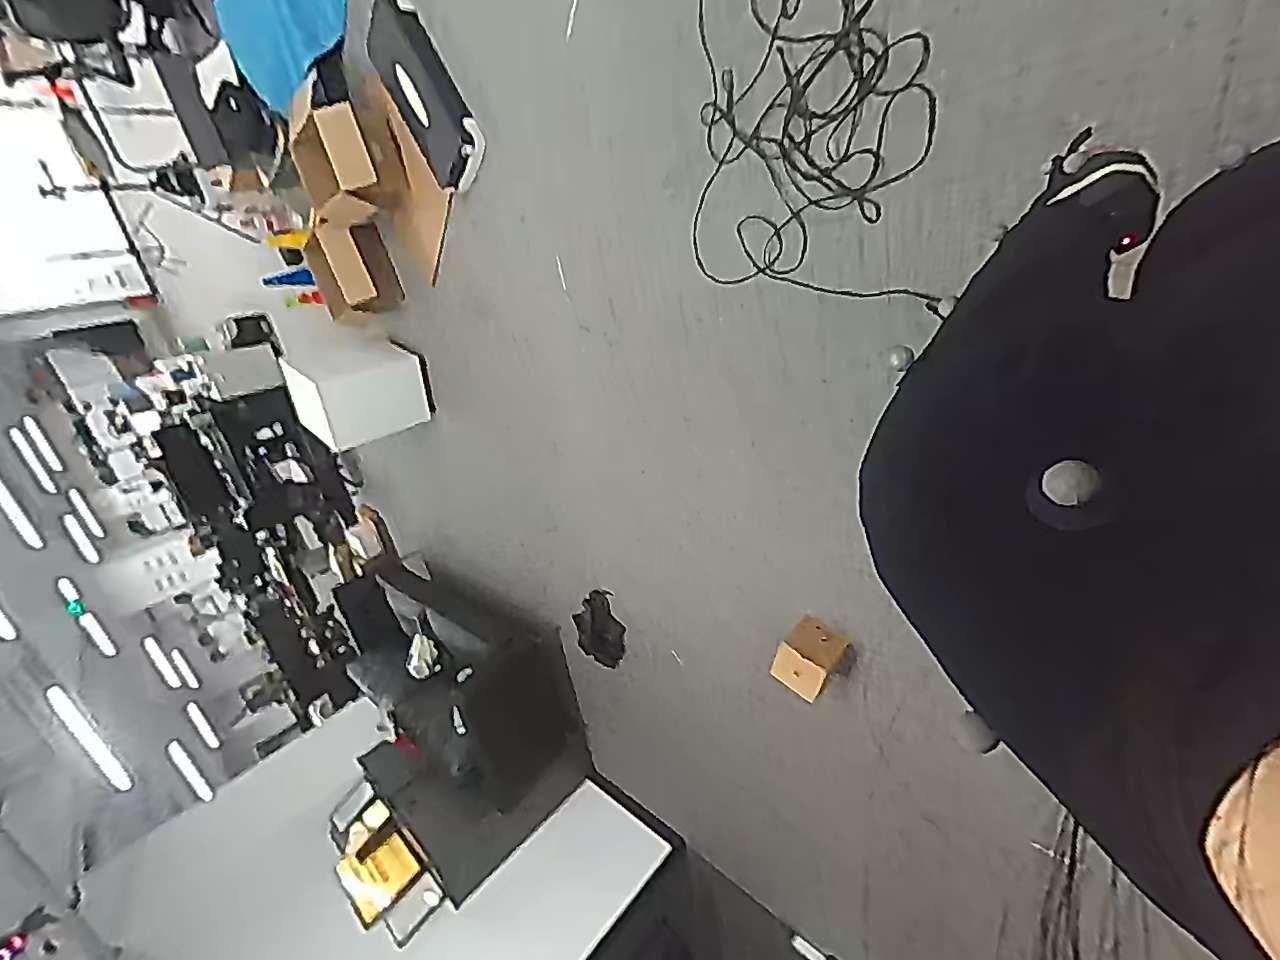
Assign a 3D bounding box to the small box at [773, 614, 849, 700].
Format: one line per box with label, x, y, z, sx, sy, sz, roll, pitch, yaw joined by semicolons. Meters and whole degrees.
small box;0.572;0.586;1.803;0.168;0.176;0.179;31;133;32
